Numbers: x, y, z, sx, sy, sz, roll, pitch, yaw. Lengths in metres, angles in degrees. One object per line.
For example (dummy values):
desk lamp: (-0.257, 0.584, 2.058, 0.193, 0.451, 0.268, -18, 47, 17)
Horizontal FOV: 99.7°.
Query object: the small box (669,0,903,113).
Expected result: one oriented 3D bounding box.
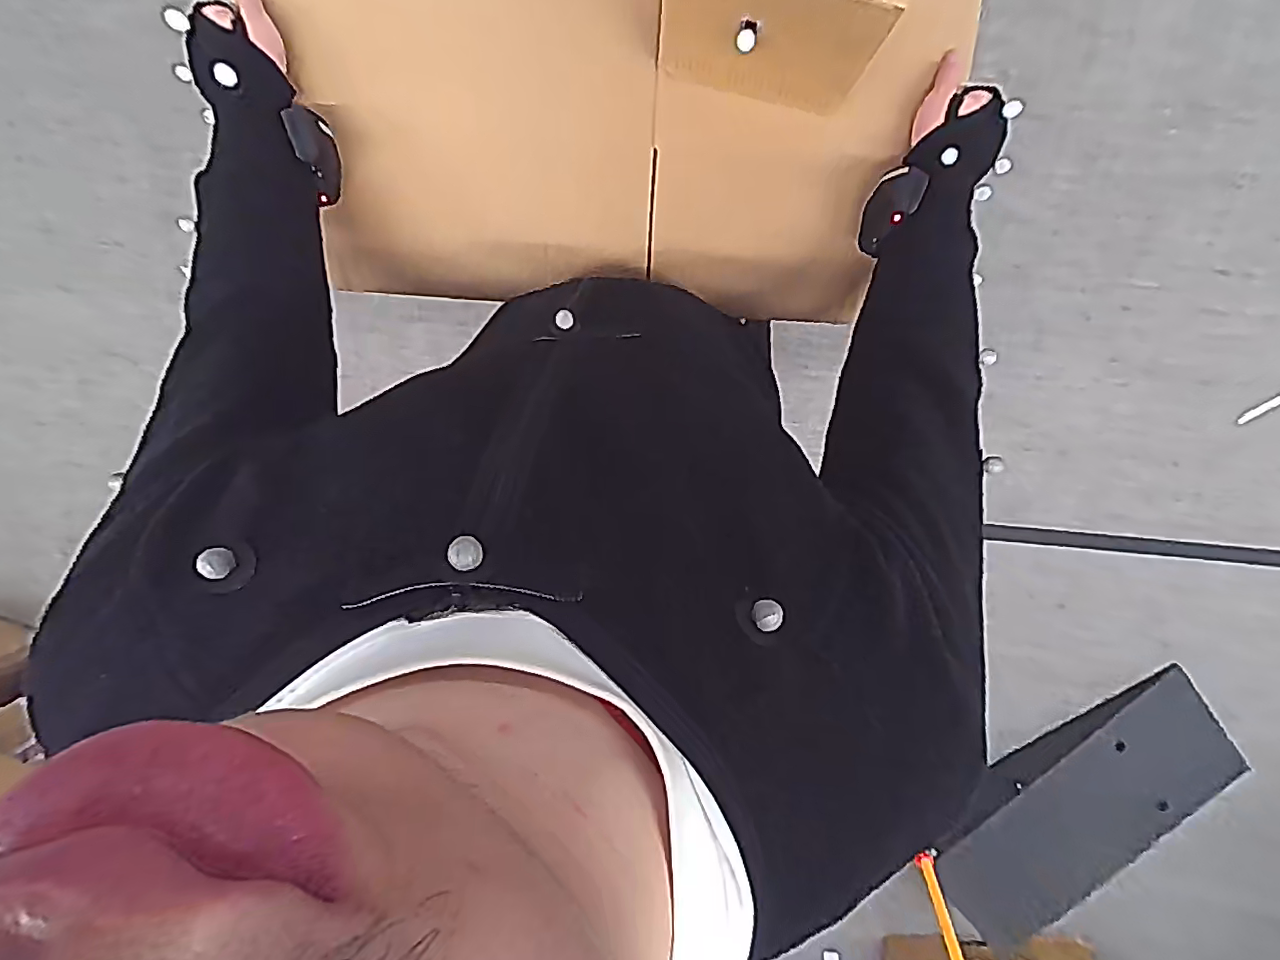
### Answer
small box: (0.124, -0.439, 0.444, 0.179, 0.176, 0.168, 15, 103, 0)
